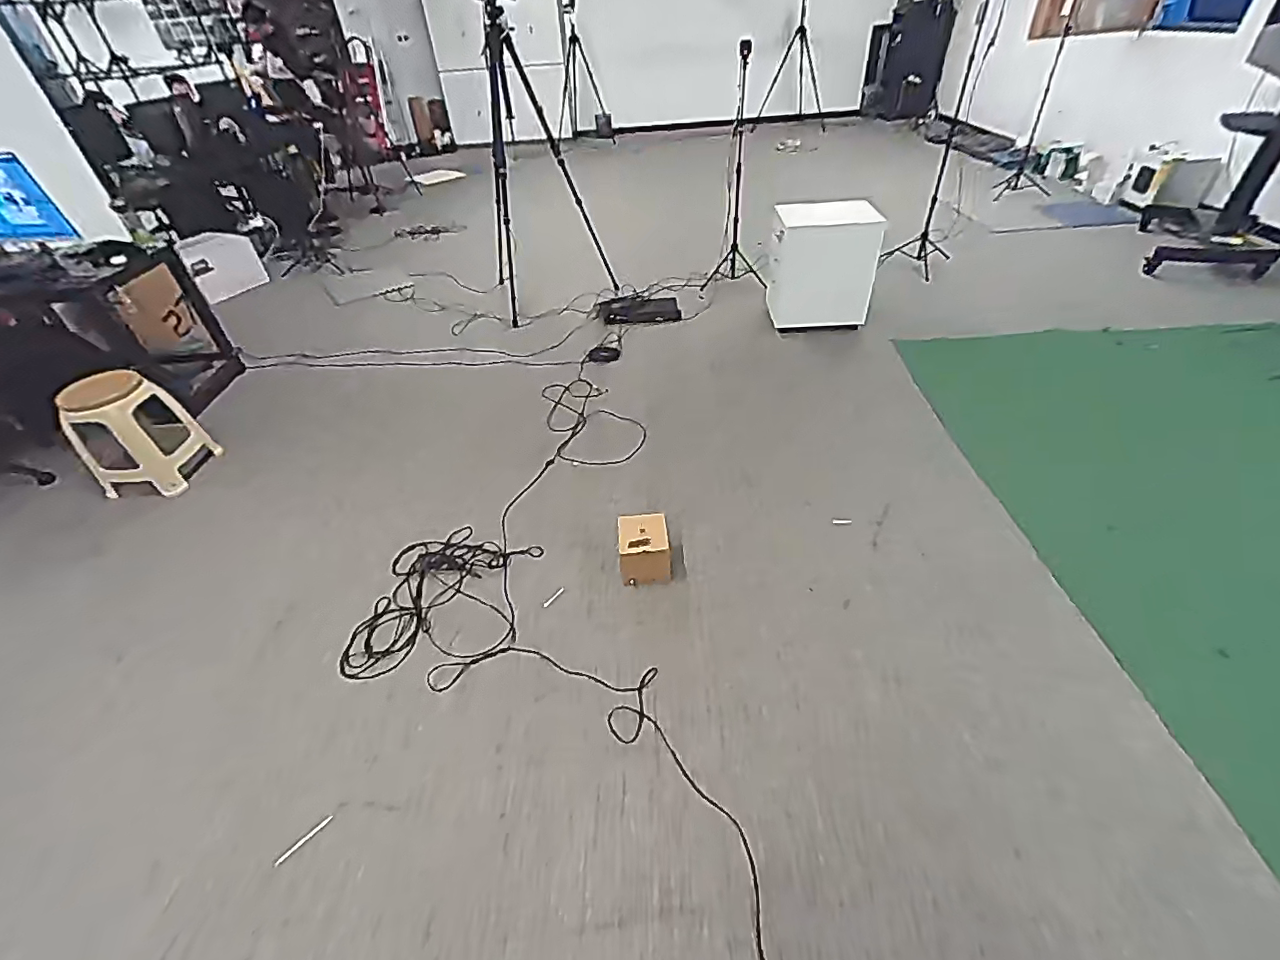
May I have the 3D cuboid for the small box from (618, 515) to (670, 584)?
[{"bbox_3d":[0.014,0.245,1.870,0.168,0.176,0.179,-5,40,-1],"label":"small box"}]
